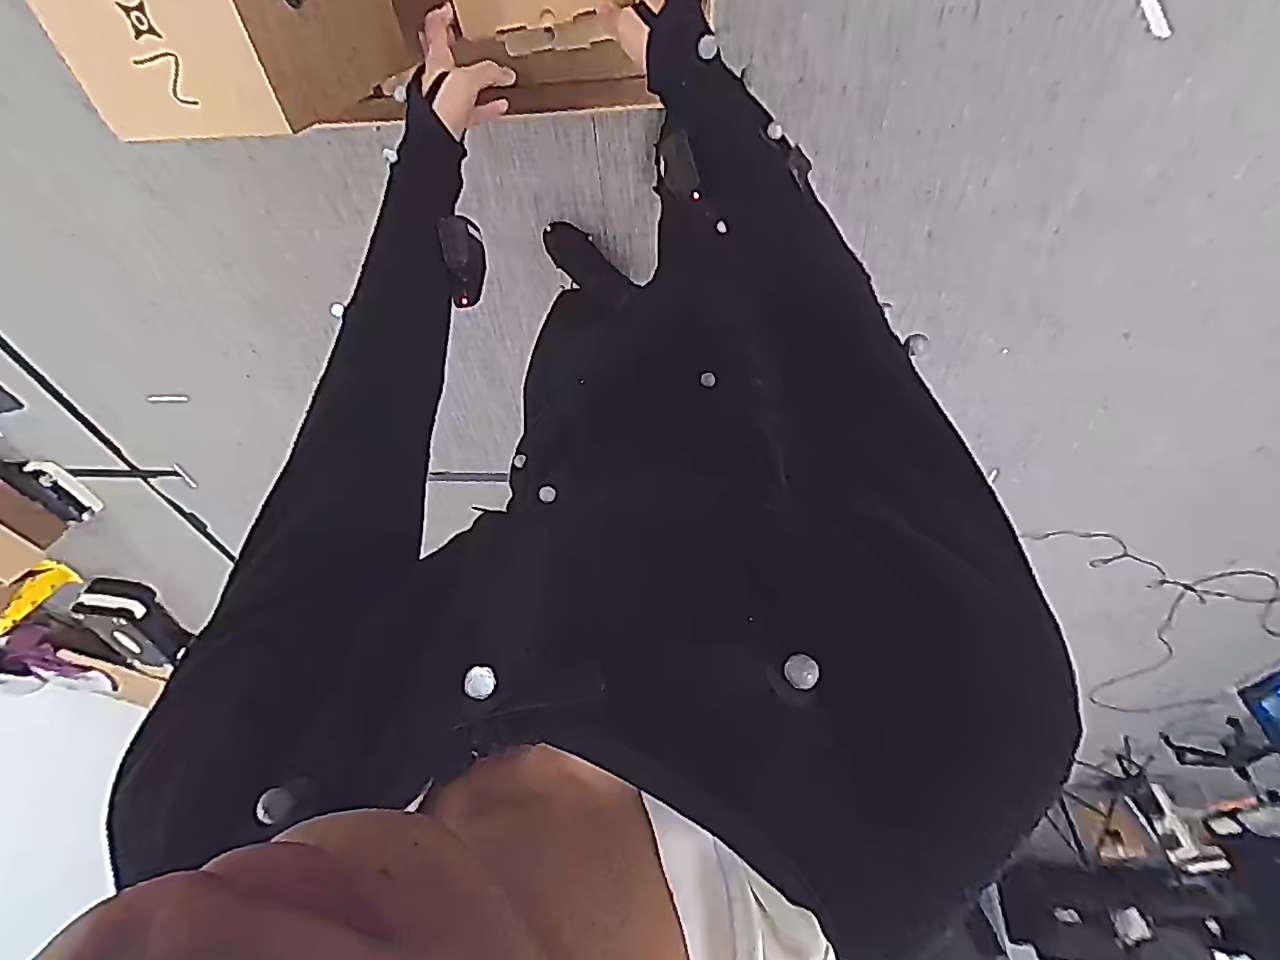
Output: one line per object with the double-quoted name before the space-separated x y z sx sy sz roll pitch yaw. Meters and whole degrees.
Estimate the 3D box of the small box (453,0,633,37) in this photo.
"small box" -0.102 -0.544 0.509 0.168 0.176 0.179 -8 131 5

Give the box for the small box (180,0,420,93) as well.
"small box" -0.361 -0.531 0.569 0.168 0.176 0.179 1 135 6
